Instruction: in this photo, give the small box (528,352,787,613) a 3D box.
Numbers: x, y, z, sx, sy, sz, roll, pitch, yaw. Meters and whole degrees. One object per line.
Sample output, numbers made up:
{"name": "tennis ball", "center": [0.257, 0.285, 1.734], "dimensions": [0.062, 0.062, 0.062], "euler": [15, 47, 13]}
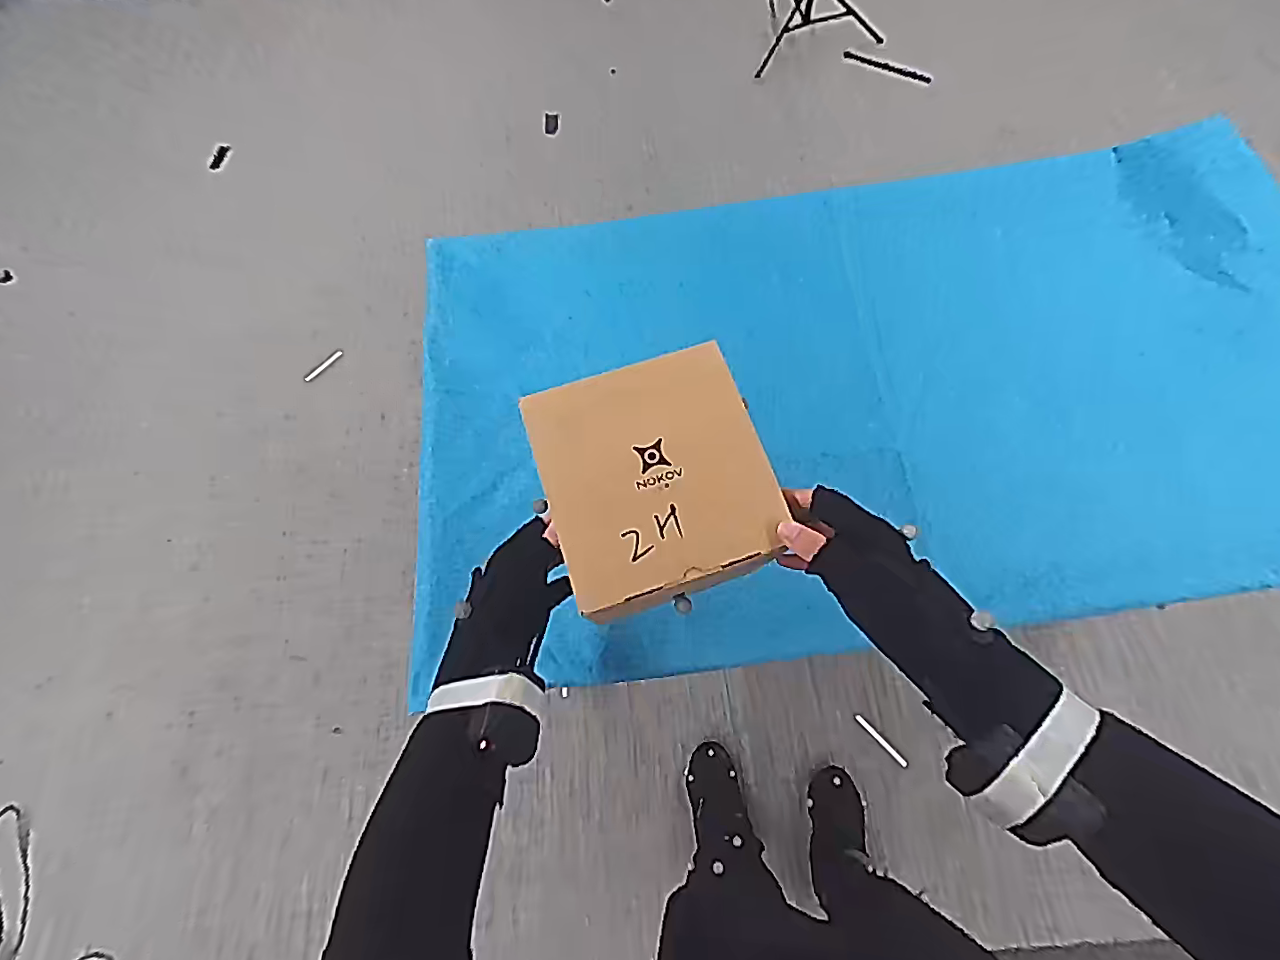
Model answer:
{"name": "small box", "center": [0.010, 0.016, 0.485], "dimensions": [0.168, 0.176, 0.179], "euler": [-14, 76, -2]}
